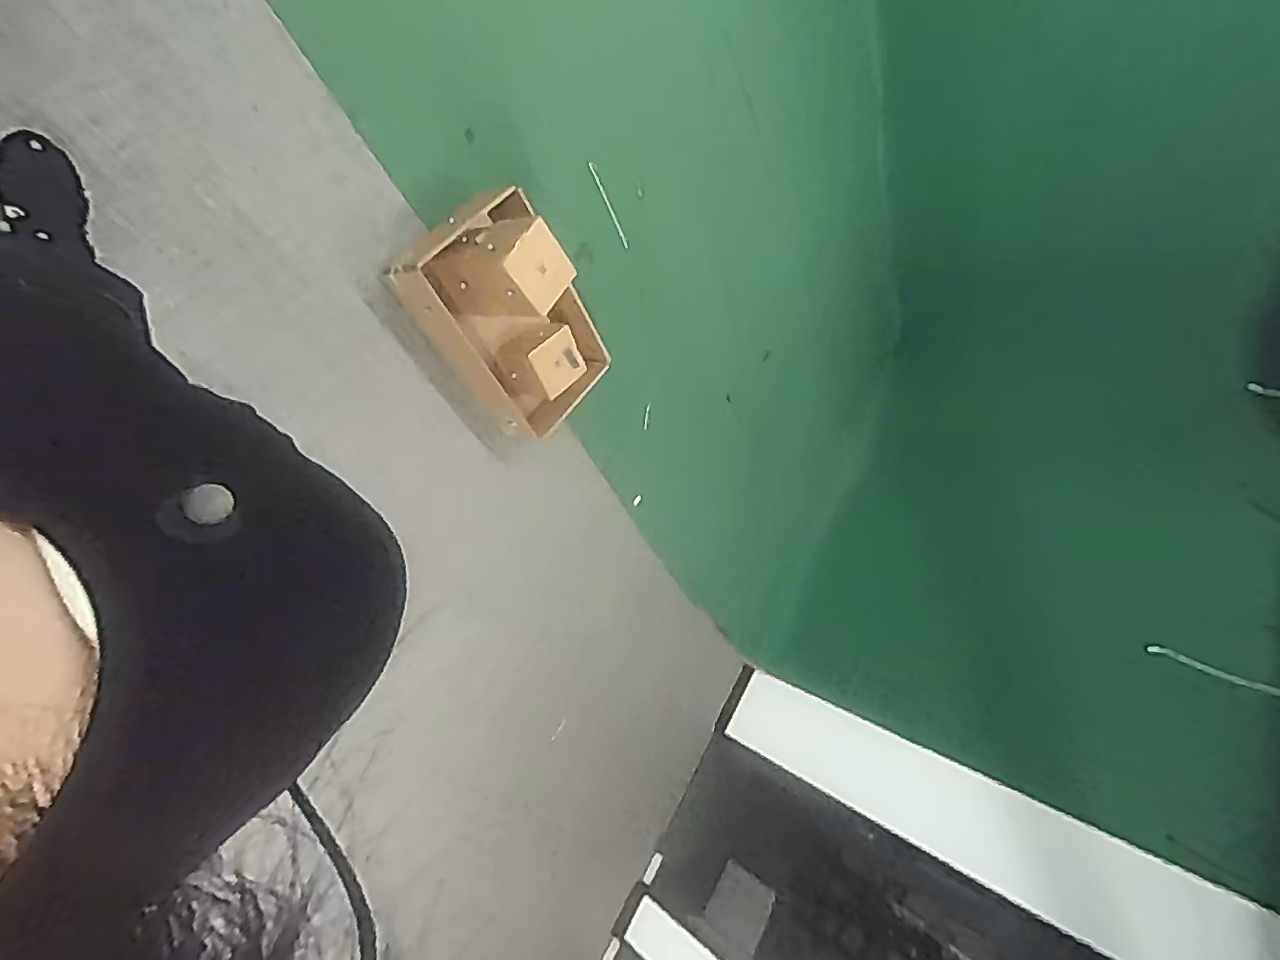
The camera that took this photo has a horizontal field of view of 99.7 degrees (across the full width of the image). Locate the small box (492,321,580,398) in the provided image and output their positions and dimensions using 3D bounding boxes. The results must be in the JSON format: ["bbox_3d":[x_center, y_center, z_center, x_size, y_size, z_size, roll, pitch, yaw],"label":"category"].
[{"bbox_3d":[-0.325,-0.382,1.688,0.179,0.176,0.168,-47,134,-28],"label":"small box"}]

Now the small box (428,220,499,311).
[{"bbox_3d":[-0.439,-0.580,1.477,0.168,0.176,0.179,-52,136,-24],"label":"small box"}]

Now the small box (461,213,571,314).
[{"bbox_3d":[-0.317,-0.545,1.373,0.168,0.176,0.179,-58,142,-16],"label":"small box"}]
